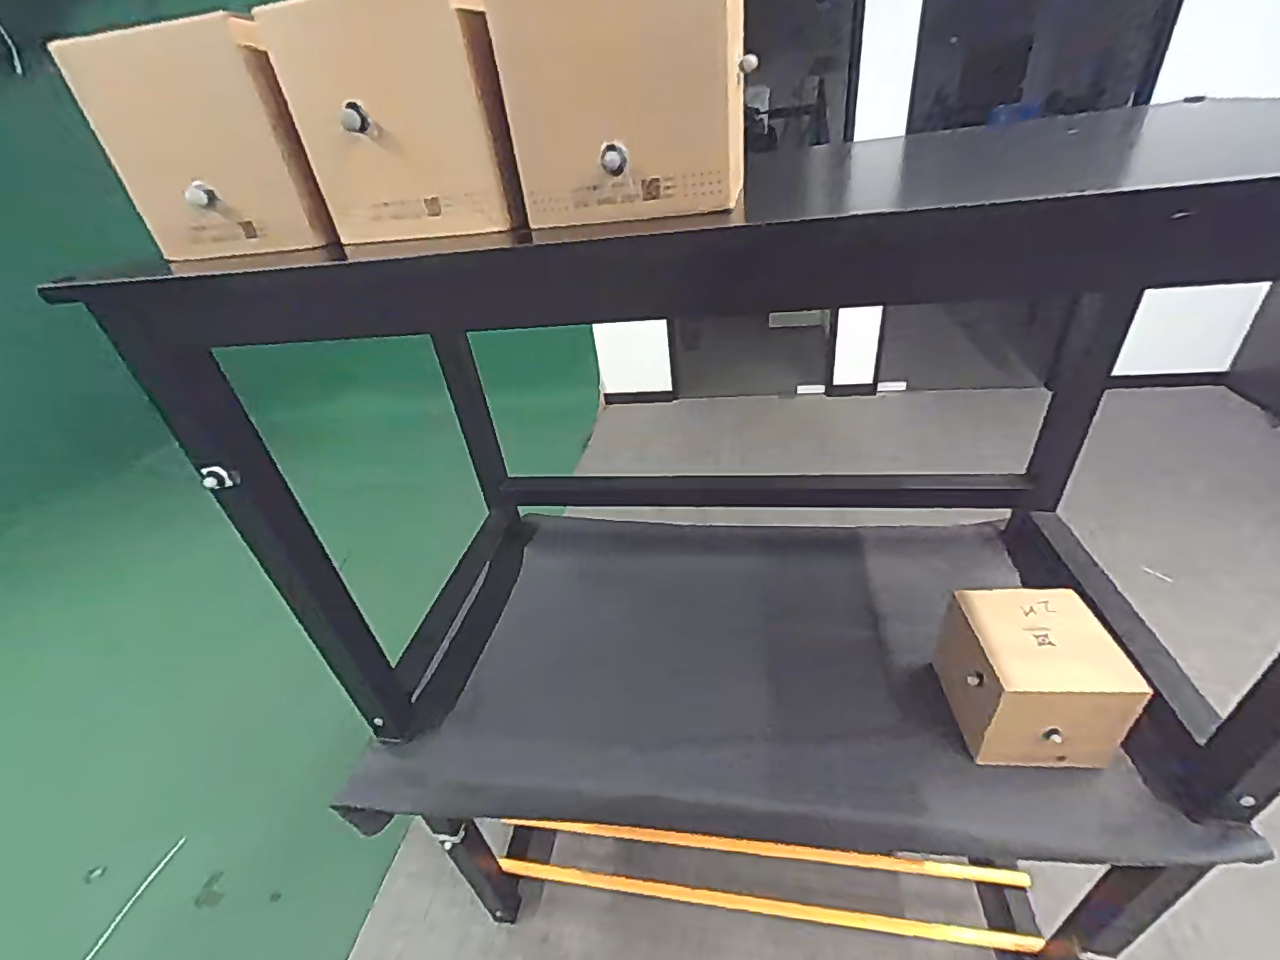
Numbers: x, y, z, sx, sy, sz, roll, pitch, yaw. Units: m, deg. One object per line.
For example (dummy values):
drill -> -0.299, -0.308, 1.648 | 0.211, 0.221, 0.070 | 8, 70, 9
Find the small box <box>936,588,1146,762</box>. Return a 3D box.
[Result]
small box -> 0.549, 0.277, 0.773 | 0.168, 0.176, 0.179 | -2, 33, 8

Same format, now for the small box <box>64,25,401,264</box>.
small box -> -0.363, -0.319, 0.530 | 0.168, 0.176, 0.179 | -1, 35, 10
